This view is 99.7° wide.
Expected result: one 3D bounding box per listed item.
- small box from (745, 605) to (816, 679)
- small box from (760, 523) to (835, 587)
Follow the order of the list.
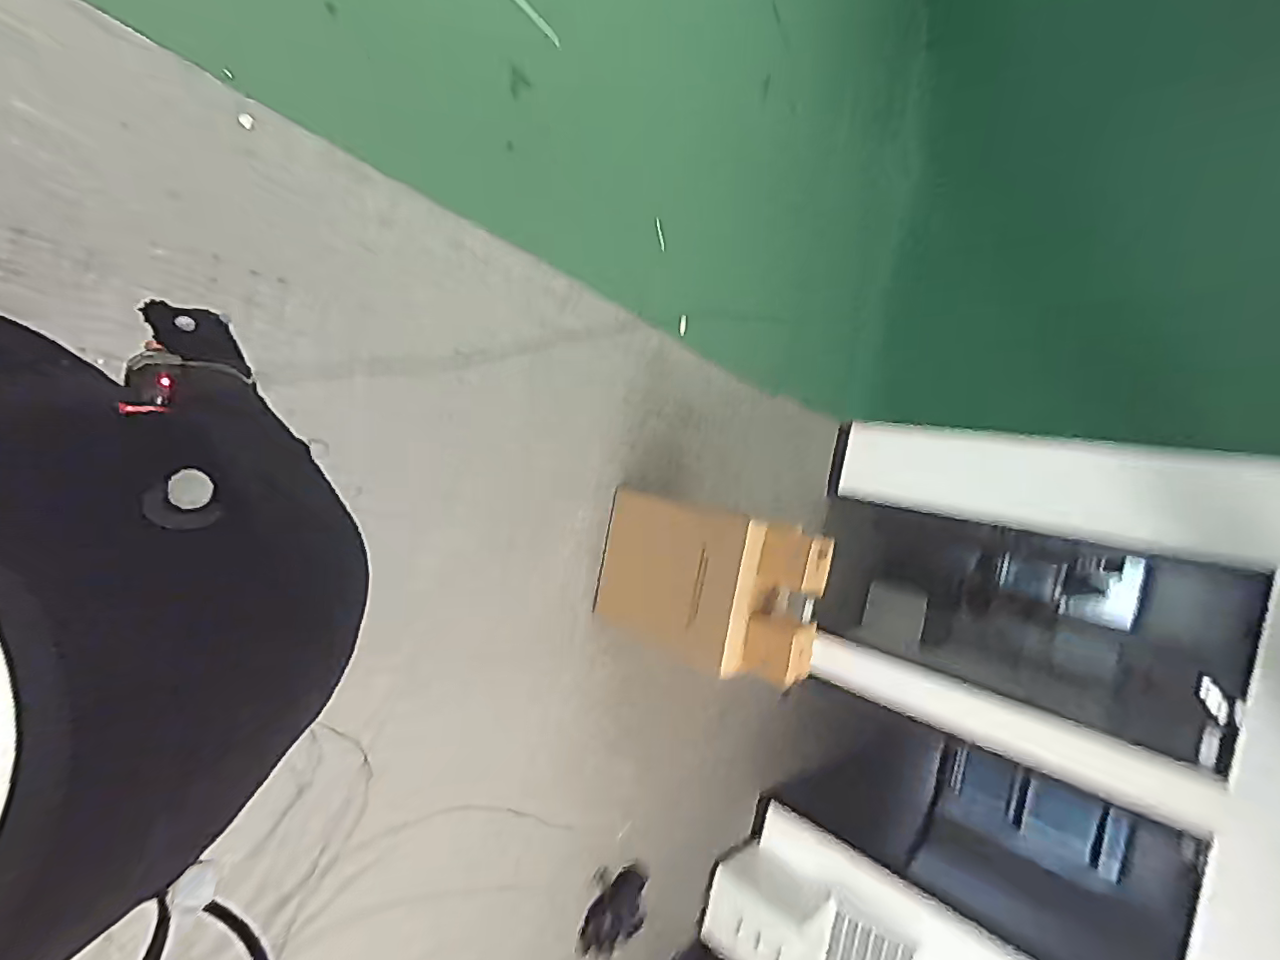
[{"bbox_3d":[0.475,0.544,1.839,0.168,0.176,0.179,-2,100,-46],"label":"small box"},{"bbox_3d":[0.528,0.250,1.823,0.168,0.176,0.179,13,90,-45],"label":"small box"}]
